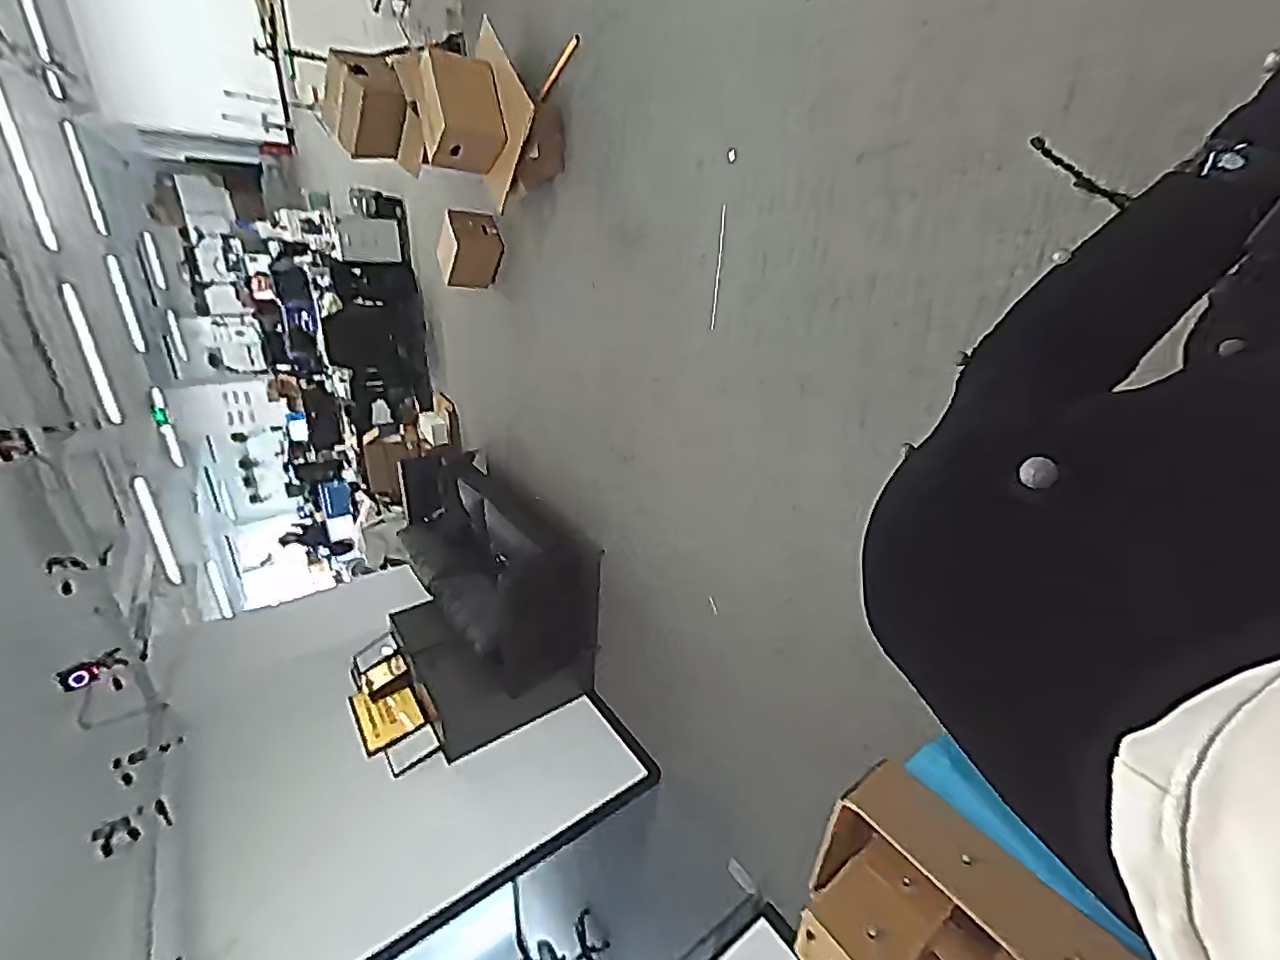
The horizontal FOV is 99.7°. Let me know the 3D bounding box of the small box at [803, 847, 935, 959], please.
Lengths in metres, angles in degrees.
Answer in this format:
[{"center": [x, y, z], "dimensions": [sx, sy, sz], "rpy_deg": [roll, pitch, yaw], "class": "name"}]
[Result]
[{"center": [0.468, 0.911, 1.108], "dimensions": [0.179, 0.176, 0.168], "rpy_deg": [32, 128, 45], "class": "small box"}]
